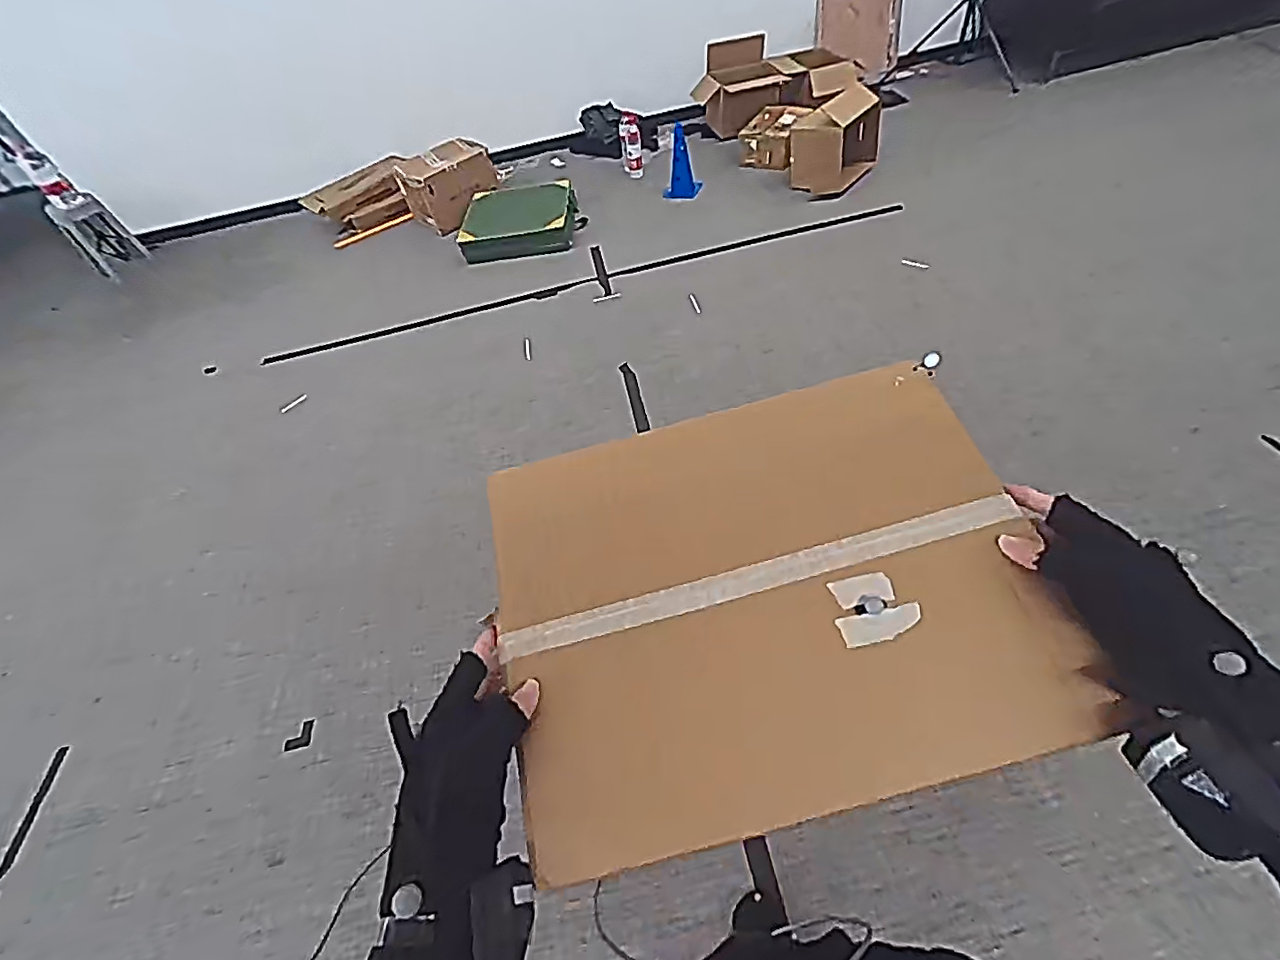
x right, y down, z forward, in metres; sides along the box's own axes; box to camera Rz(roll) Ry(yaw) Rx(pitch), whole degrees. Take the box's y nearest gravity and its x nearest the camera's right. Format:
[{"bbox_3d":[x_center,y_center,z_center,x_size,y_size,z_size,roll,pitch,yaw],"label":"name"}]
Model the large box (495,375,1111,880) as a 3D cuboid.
[{"bbox_3d":[0.109,0.154,0.560,0.408,0.320,0.320,-16,61,0],"label":"large box"}]
